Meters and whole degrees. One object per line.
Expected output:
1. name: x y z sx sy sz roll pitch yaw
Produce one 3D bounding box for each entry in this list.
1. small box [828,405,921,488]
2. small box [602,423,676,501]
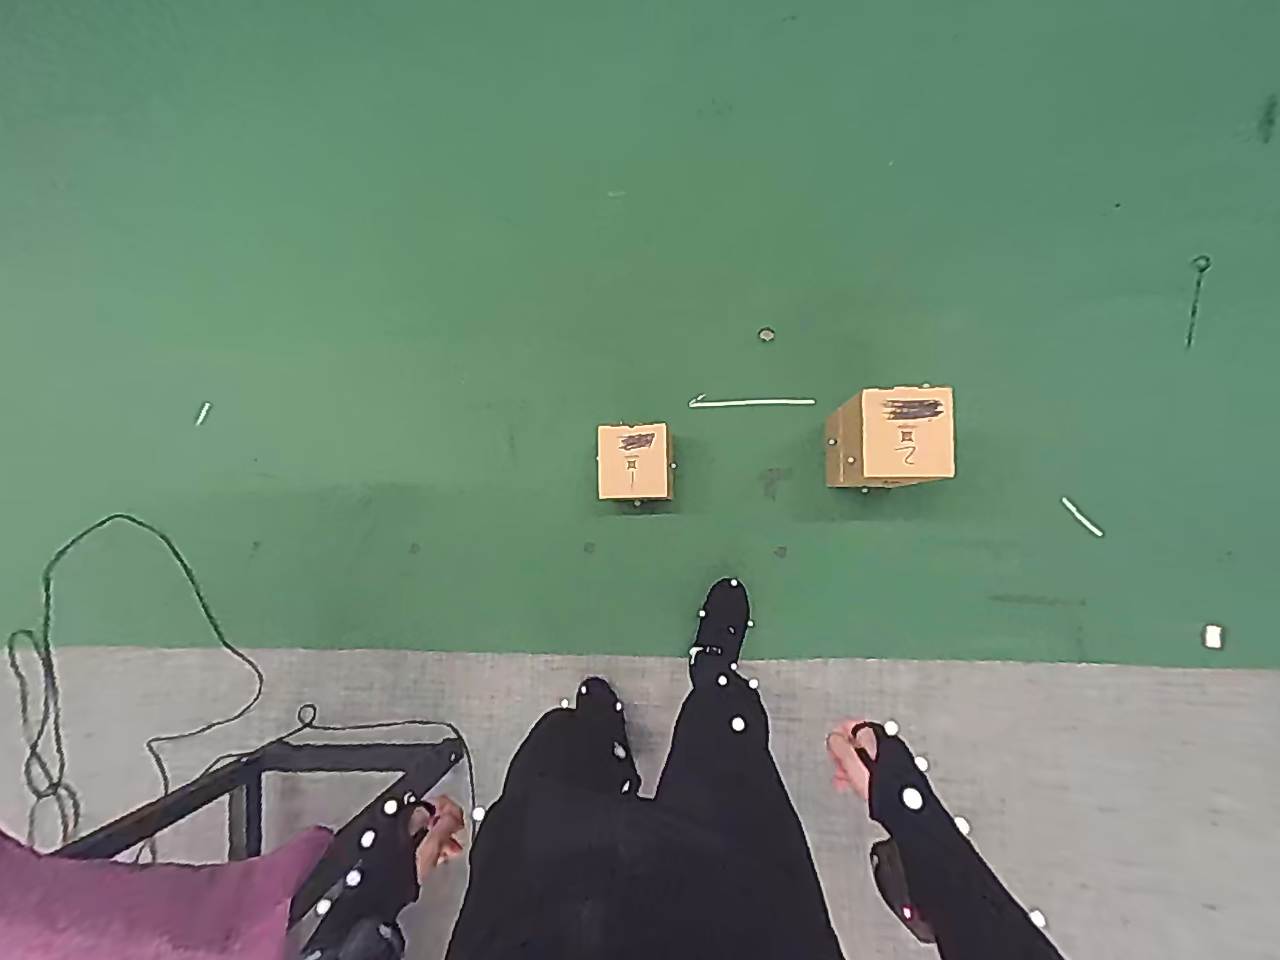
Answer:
1. small box: 0.543 -0.074 1.271 0.168 0.176 0.179 1 87 8
2. small box: 0.001 -0.039 1.346 0.168 0.176 0.179 -1 87 9
